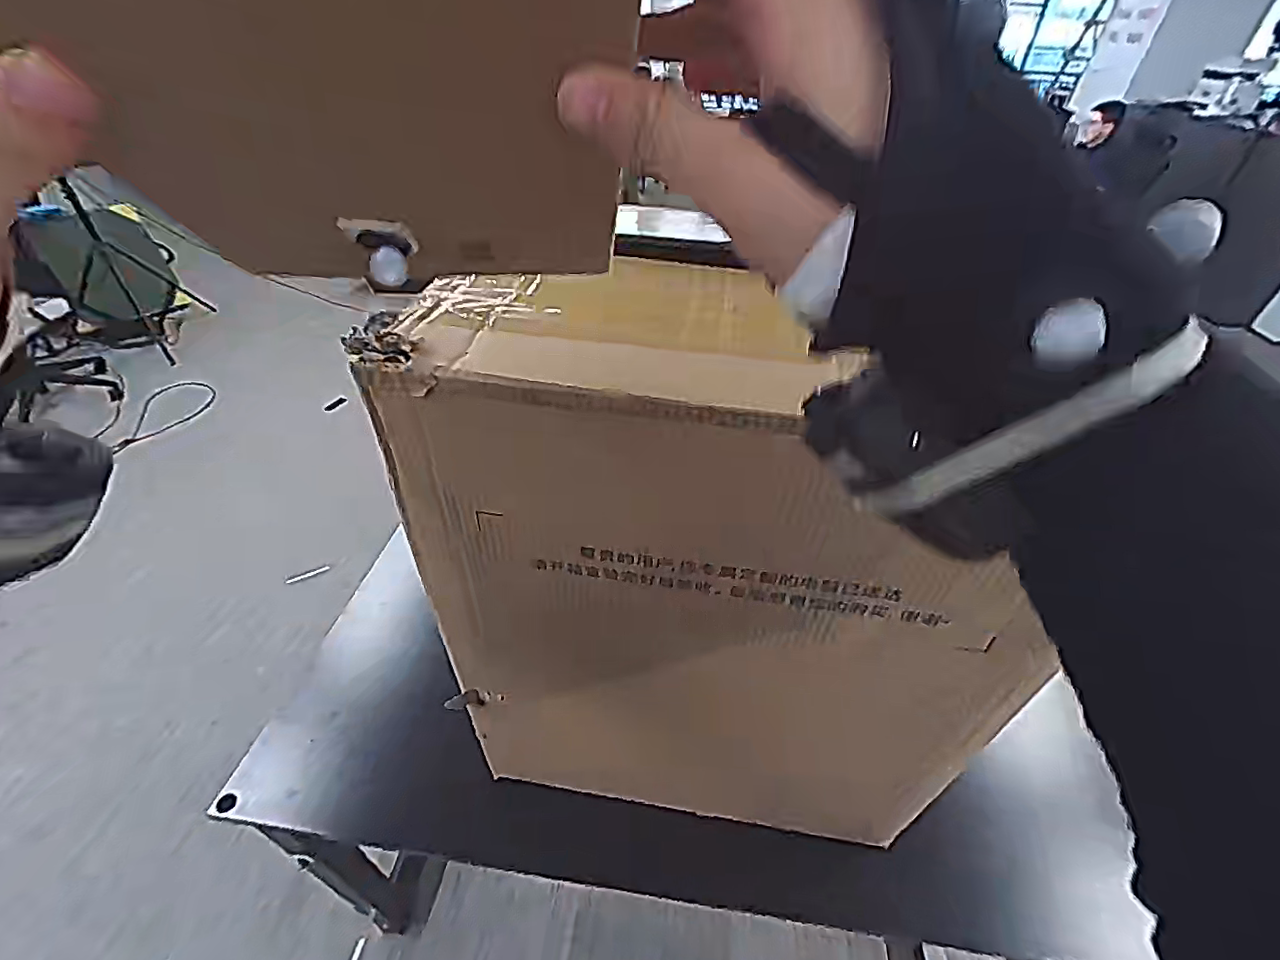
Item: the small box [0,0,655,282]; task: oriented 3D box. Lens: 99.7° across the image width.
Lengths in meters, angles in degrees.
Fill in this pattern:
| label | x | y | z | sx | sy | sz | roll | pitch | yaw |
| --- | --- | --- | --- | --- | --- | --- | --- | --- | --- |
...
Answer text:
| label | x | y | z | sx | sy | sz | roll | pitch | yaw |
| --- | --- | --- | --- | --- | --- | --- | --- | --- | --- |
| small box | -0.089 | -0.190 | 0.189 | 0.168 | 0.179 | 0.176 | -4 | -4 | -5 |
